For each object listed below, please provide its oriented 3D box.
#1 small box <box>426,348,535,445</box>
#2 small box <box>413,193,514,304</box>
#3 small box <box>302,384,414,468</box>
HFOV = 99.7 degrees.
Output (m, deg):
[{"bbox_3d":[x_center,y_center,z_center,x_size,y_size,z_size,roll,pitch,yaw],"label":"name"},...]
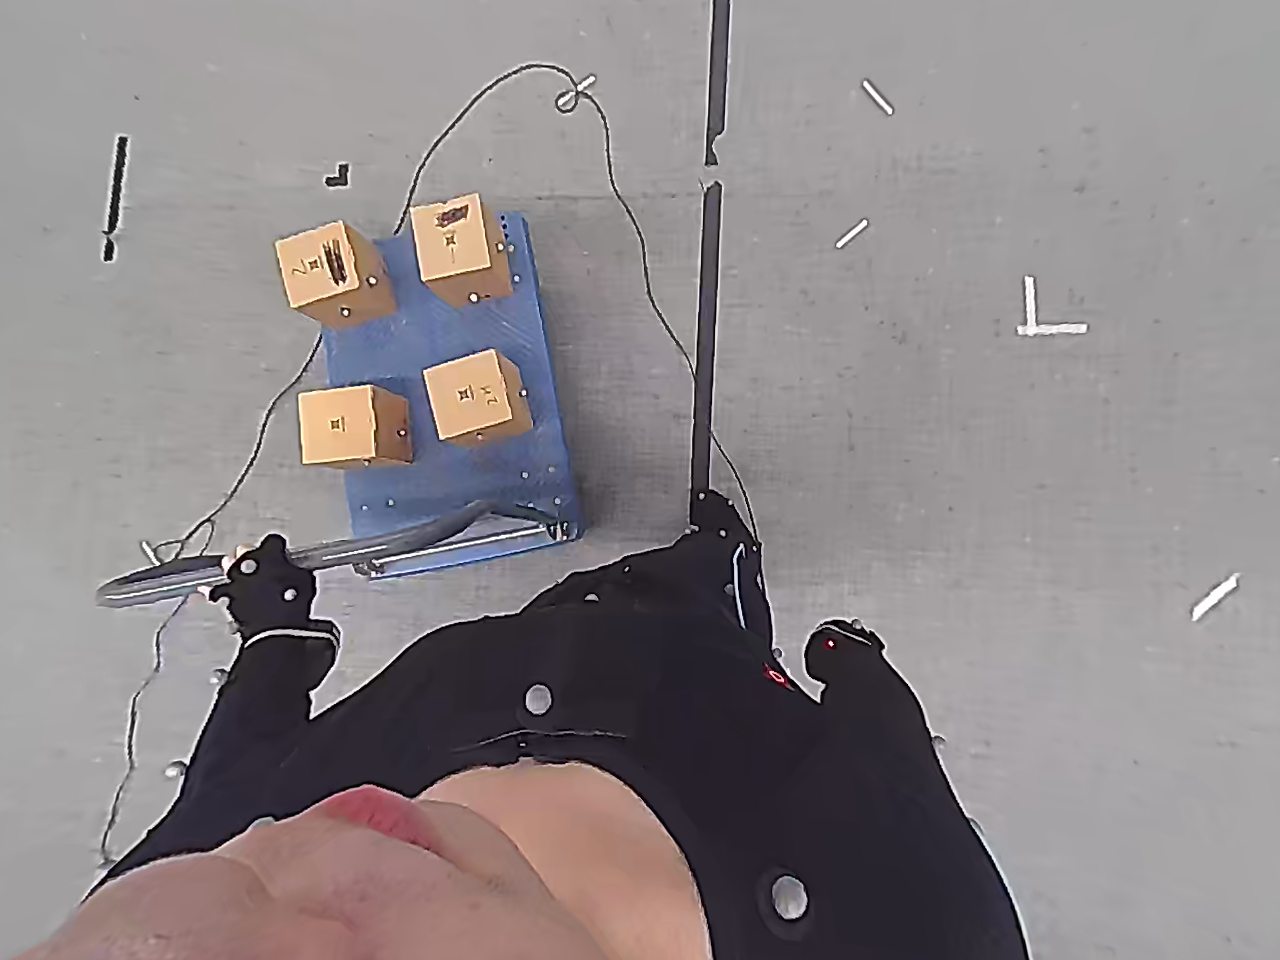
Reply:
[{"bbox_3d":[-0.368,-0.188,1.274,0.179,0.176,0.168,-16,86,4],"label":"small box"},{"bbox_3d":[-0.415,-0.546,1.295,0.168,0.176,0.179,-10,88,4],"label":"small box"},{"bbox_3d":[-0.669,-0.122,1.297,0.179,0.176,0.168,-7,86,3],"label":"small box"}]
